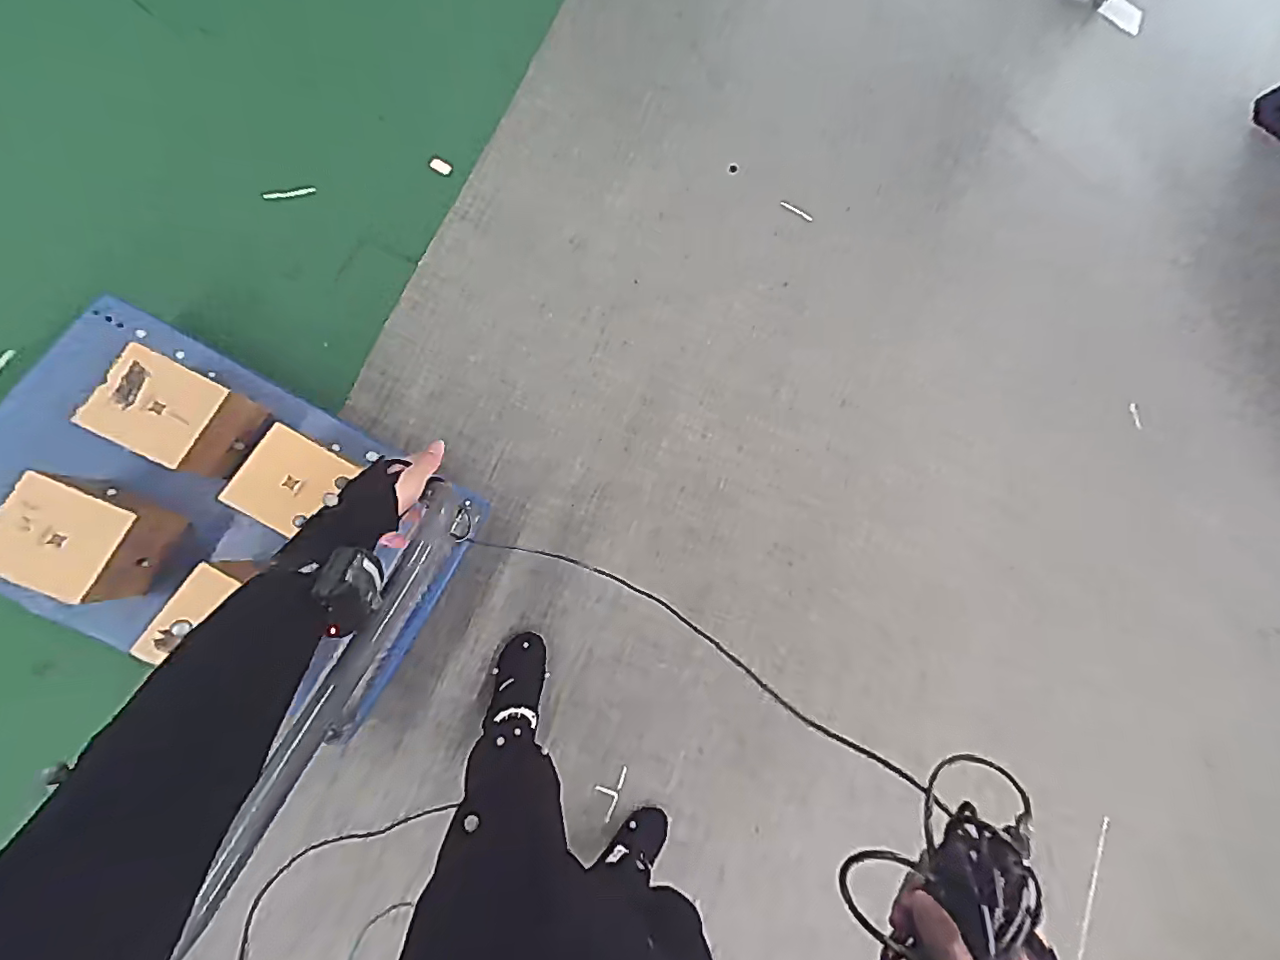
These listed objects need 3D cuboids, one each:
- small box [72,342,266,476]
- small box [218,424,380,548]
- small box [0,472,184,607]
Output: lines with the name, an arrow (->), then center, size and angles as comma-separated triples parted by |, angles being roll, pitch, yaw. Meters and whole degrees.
small box -> -0.851, -0.119, 1.000 | 0.179, 0.176, 0.168 | 30, 79, -10
small box -> -0.638, 0.019, 1.038 | 0.179, 0.176, 0.168 | 32, 77, -9
small box -> -0.968, 0.103, 0.947 | 0.179, 0.176, 0.168 | 28, 77, -9
